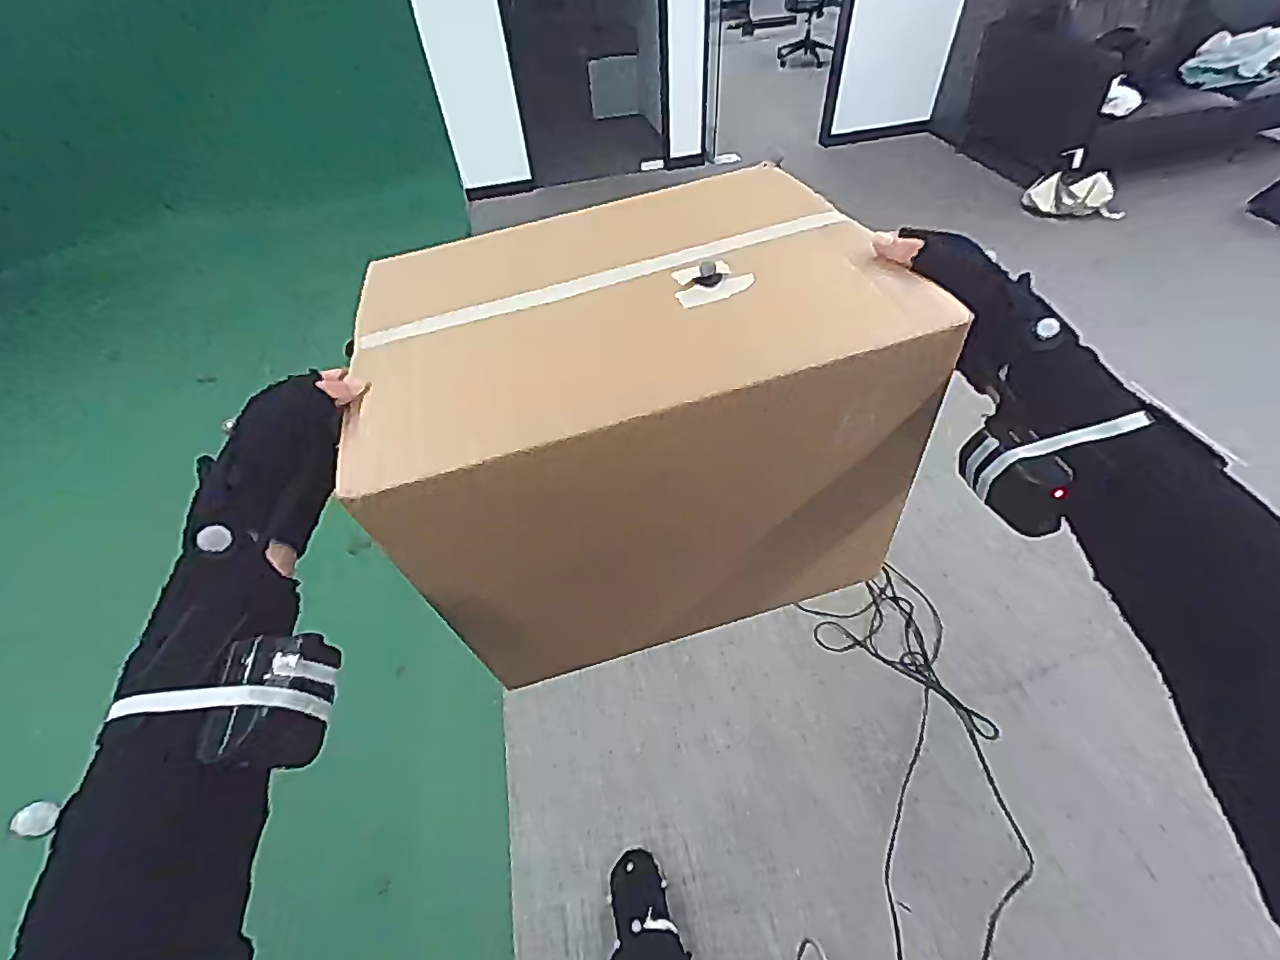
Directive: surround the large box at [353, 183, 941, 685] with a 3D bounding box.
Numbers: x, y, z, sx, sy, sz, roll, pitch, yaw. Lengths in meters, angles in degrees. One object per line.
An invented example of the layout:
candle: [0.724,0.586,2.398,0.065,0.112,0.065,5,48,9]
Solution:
large box: [-0.006,-0.048,0.550,0.408,0.320,0.320,-16,49,-5]
